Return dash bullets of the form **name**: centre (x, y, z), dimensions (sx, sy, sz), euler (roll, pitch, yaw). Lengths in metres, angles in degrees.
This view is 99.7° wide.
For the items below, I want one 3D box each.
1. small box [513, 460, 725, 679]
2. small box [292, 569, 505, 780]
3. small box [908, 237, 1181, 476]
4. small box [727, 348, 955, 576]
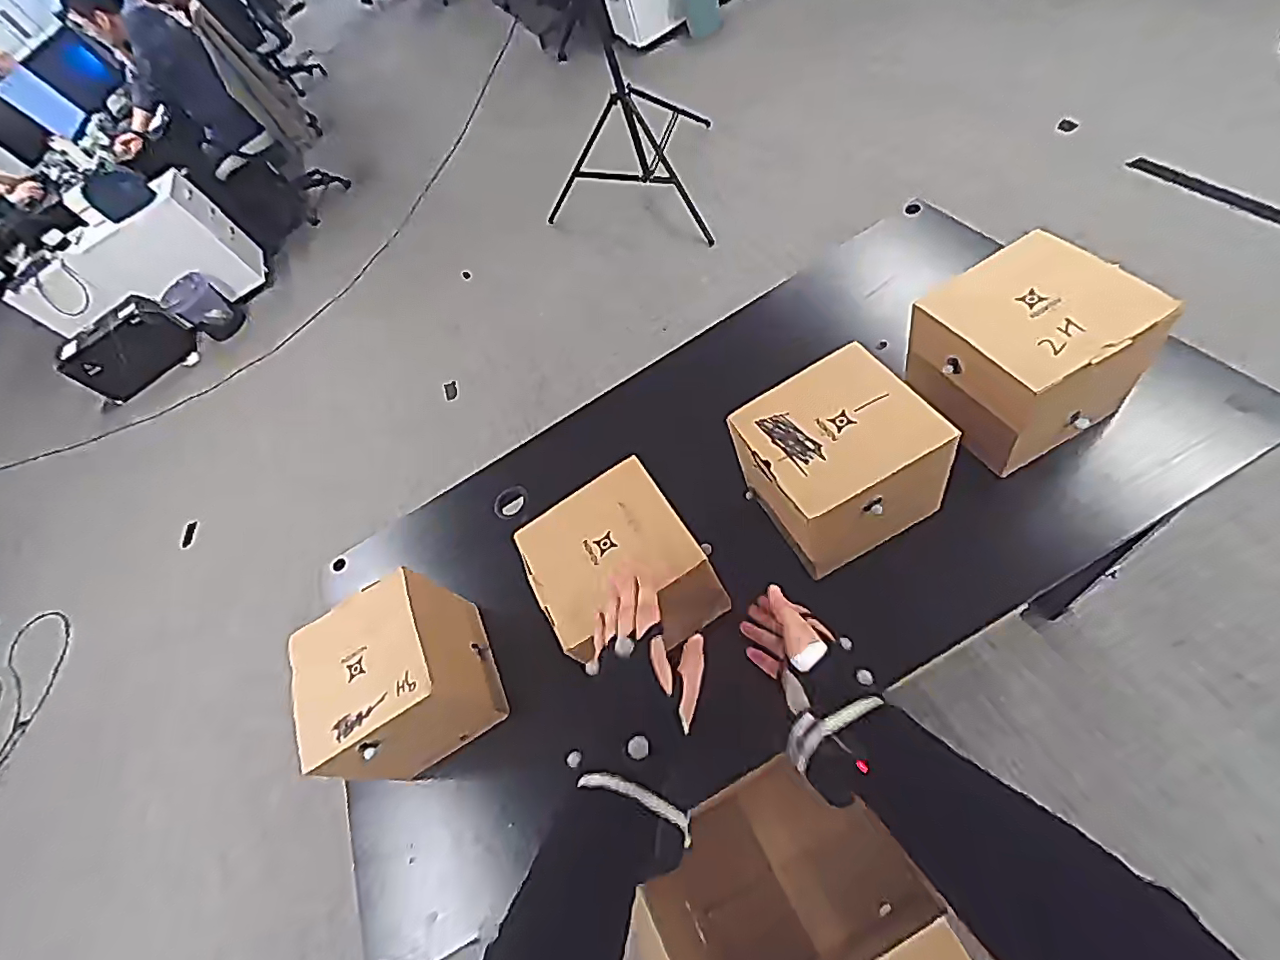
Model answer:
- **small box**: centre (-0.018, 0.116, 0.657), dimensions (0.179, 0.176, 0.168), euler (-33, 55, -2)
- **small box**: centre (-0.298, 0.249, 0.680), dimensions (0.168, 0.176, 0.179), euler (-32, 54, -1)
- **small box**: centre (0.441, -0.138, 0.632), dimensions (0.168, 0.176, 0.179), euler (-31, 54, 3)
- **small box**: centre (0.229, -0.013, 0.638), dimensions (0.179, 0.176, 0.168), euler (-30, 54, 1)
